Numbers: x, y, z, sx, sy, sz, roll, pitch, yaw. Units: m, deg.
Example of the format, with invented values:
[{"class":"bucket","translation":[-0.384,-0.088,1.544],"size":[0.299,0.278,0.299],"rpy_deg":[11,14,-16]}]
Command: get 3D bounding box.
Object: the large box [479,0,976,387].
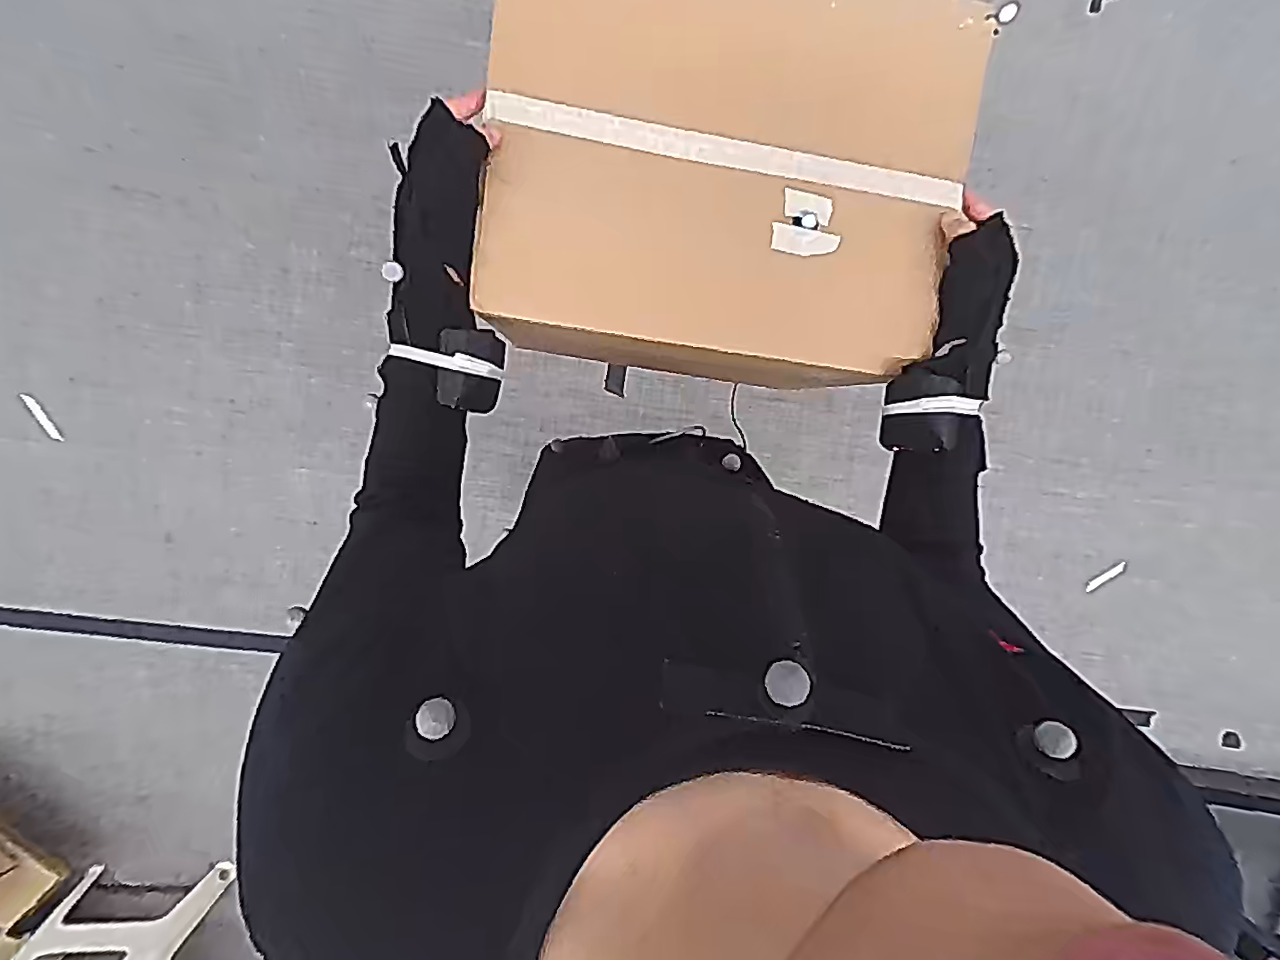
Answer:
[{"class":"large box","translation":[0.058,-0.286,0.604],"size":[0.408,0.320,0.320],"rpy_deg":[7,98,-8]}]
